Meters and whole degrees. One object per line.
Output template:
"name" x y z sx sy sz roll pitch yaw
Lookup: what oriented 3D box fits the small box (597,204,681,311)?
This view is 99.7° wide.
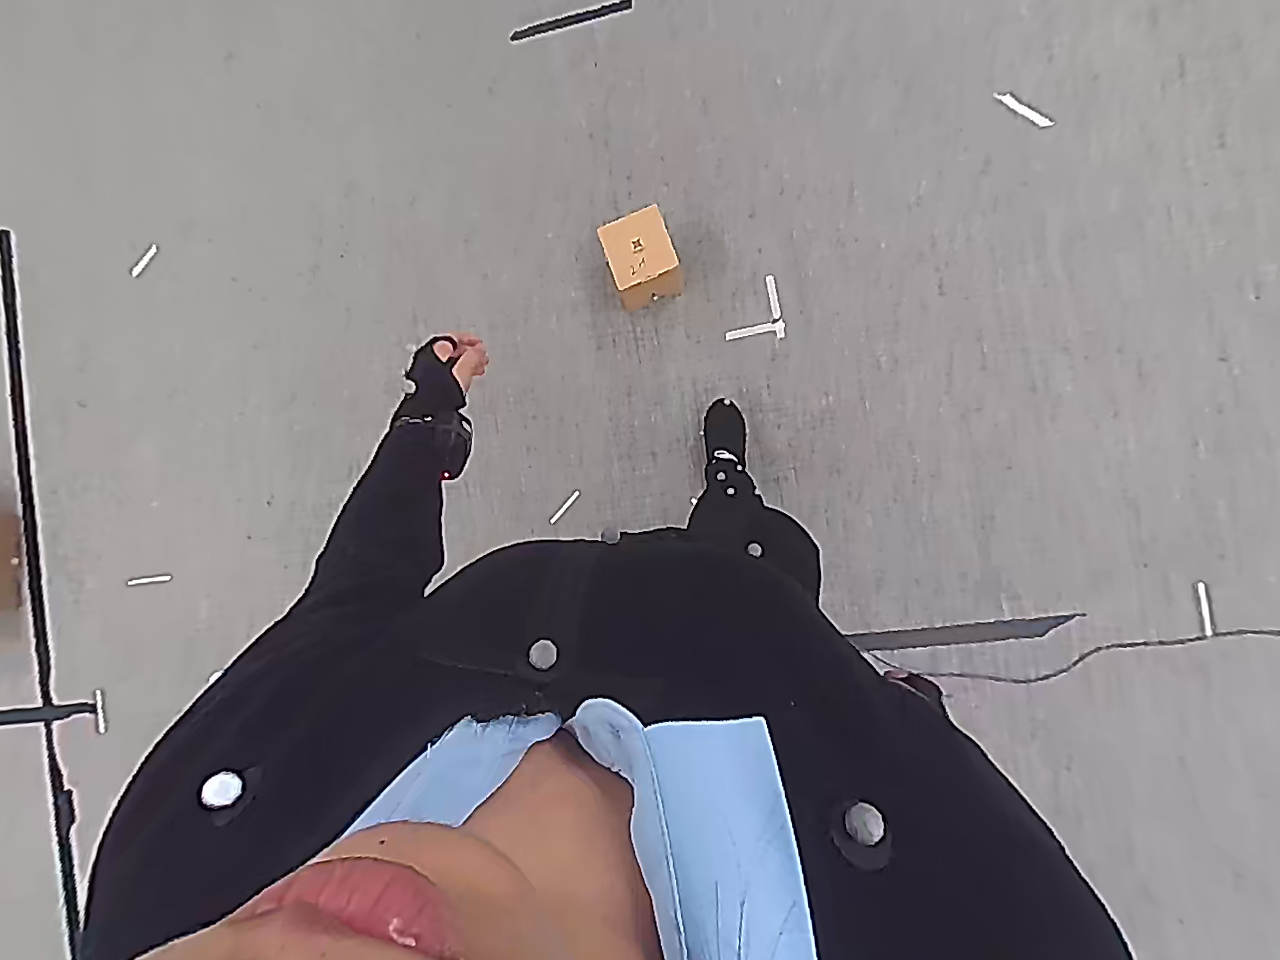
"small box" 0.002 -0.578 1.426 0.168 0.176 0.179 -20 86 7
